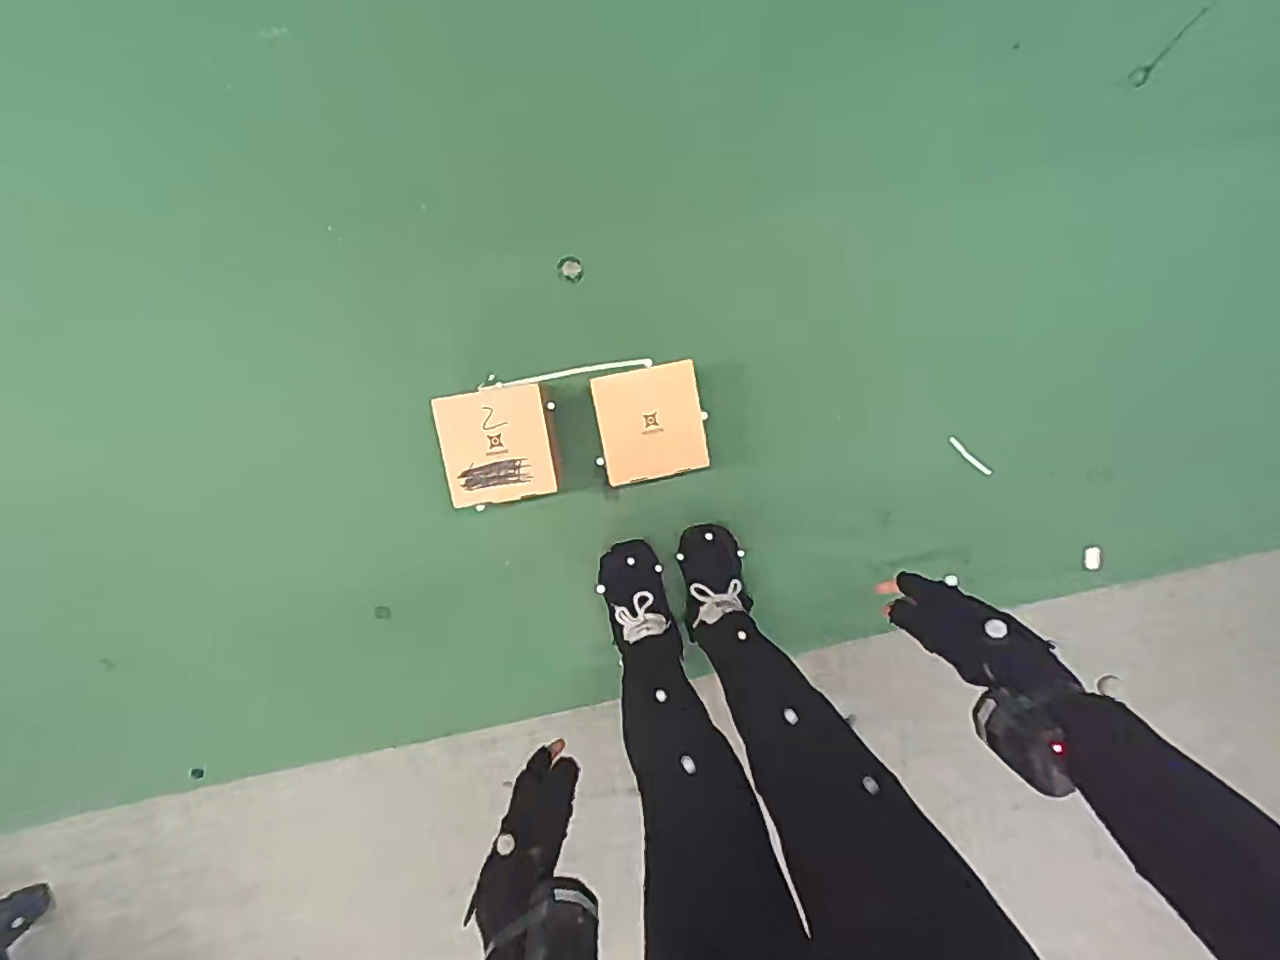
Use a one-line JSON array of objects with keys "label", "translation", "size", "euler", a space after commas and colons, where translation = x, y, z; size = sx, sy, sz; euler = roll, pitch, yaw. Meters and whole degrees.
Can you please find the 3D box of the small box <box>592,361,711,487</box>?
[{"label": "small box", "translation": [0.012, -0.100, 0.931], "size": [0.168, 0.176, 0.179], "euler": [-12, 101, -4]}]
